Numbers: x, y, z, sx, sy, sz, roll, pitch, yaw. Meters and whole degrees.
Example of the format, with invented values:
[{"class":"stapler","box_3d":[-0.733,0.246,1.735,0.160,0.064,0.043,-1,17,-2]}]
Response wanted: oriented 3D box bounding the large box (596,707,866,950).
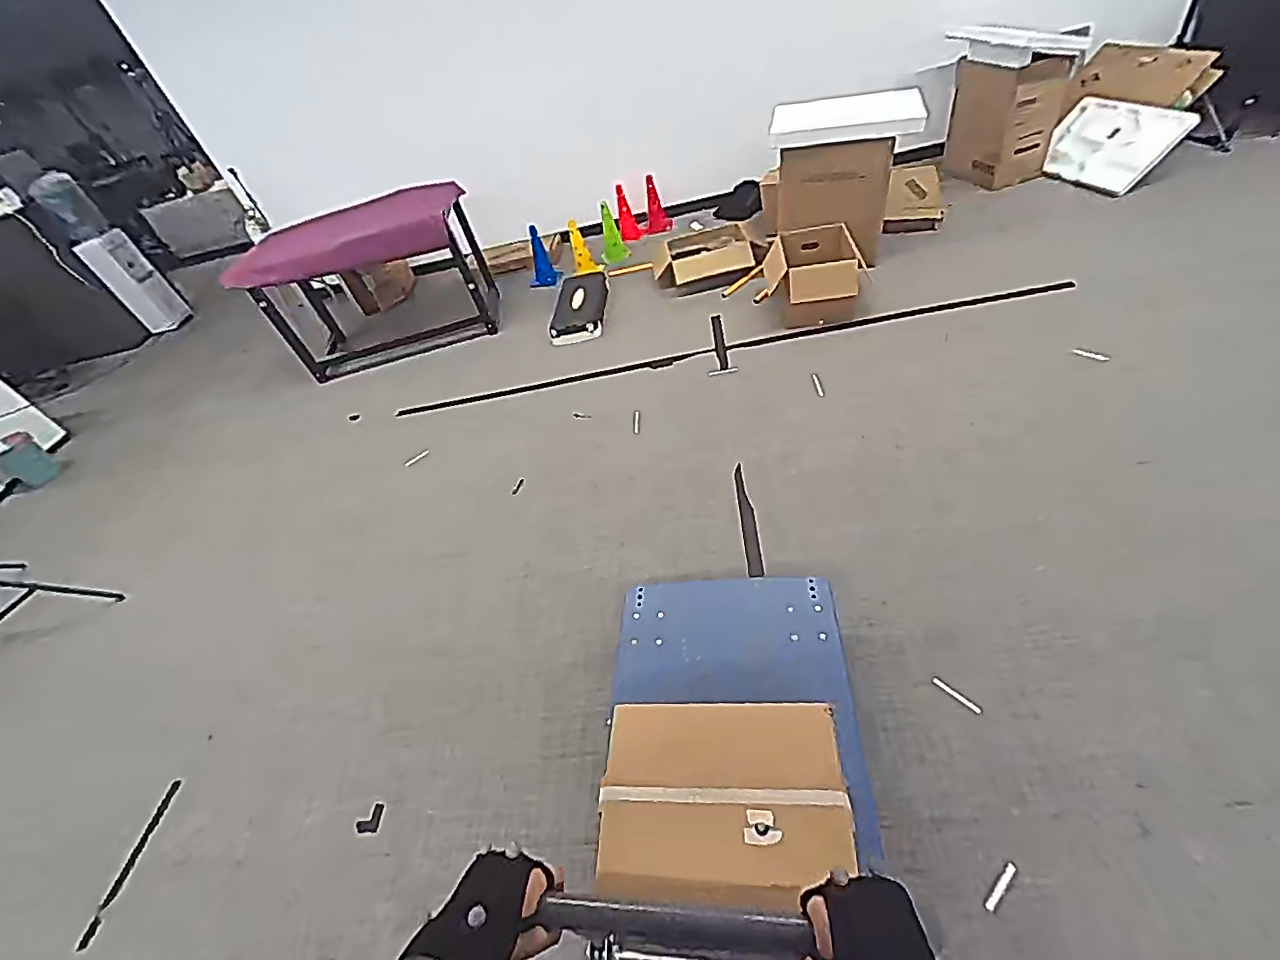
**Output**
[{"class":"large box","box_3d":[0.162,0.638,0.995,0.408,0.320,0.320,-5,45,11]}]
